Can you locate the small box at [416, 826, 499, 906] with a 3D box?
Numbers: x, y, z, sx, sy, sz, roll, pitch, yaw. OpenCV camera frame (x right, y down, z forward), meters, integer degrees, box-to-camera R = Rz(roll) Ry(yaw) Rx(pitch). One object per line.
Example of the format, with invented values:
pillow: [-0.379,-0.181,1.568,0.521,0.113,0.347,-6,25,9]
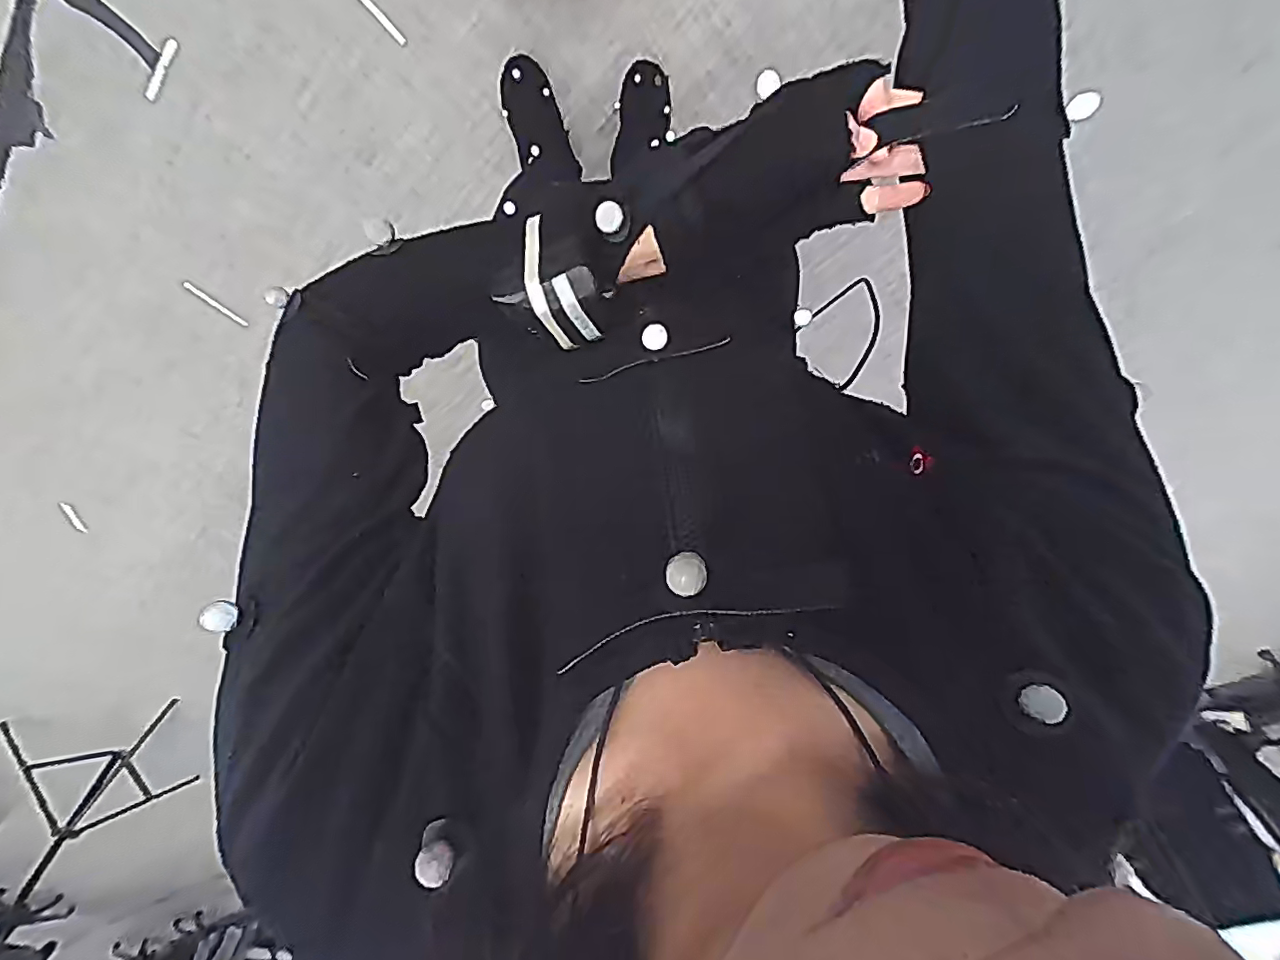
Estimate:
small box: [-0.576,1.227,1.723,0.168,0.176,0.179,-33,126,24]
